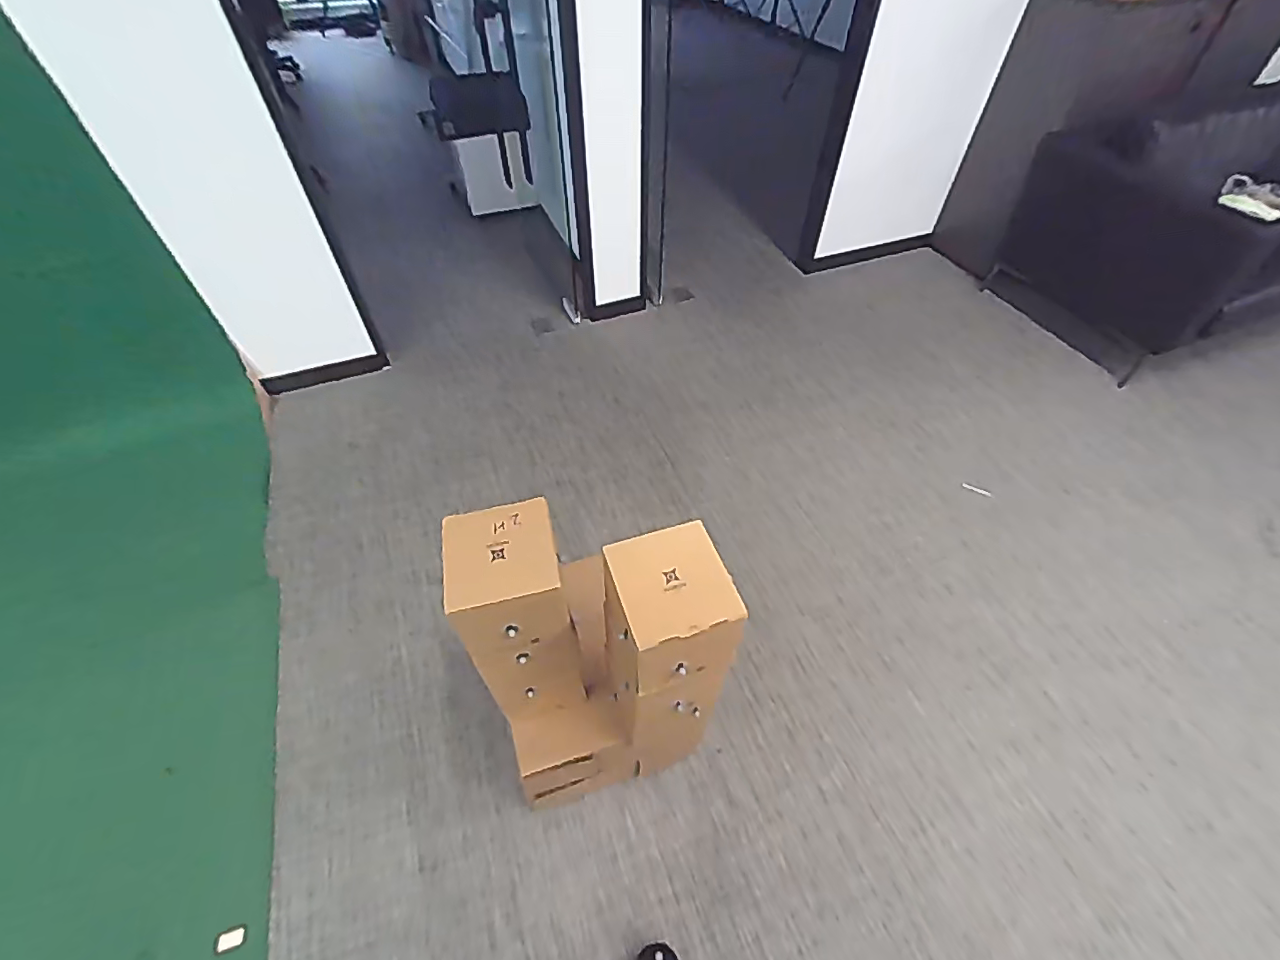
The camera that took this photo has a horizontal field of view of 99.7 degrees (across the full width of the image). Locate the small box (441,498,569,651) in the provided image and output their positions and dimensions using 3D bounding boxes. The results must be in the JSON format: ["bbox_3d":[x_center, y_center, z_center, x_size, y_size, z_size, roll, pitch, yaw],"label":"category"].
[{"bbox_3d":[-0.214,0.159,0.873,0.168,0.176,0.179,-11,50,-9],"label":"small box"}]

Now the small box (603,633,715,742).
[{"bbox_3d":[0.031,0.401,1.099,0.179,0.176,0.168,-16,51,-14],"label":"small box"}]

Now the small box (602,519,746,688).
[{"bbox_3d":[0.042,0.194,0.847,0.168,0.176,0.179,-15,51,-13],"label":"small box"}]

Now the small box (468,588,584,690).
[{"bbox_3d":[-0.217,0.261,1.000,0.179,0.176,0.168,-18,51,-11],"label":"small box"}]

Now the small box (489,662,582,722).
[{"bbox_3d":[-0.225,0.370,1.127,0.168,0.176,0.179,-15,50,-13],"label":"small box"}]
